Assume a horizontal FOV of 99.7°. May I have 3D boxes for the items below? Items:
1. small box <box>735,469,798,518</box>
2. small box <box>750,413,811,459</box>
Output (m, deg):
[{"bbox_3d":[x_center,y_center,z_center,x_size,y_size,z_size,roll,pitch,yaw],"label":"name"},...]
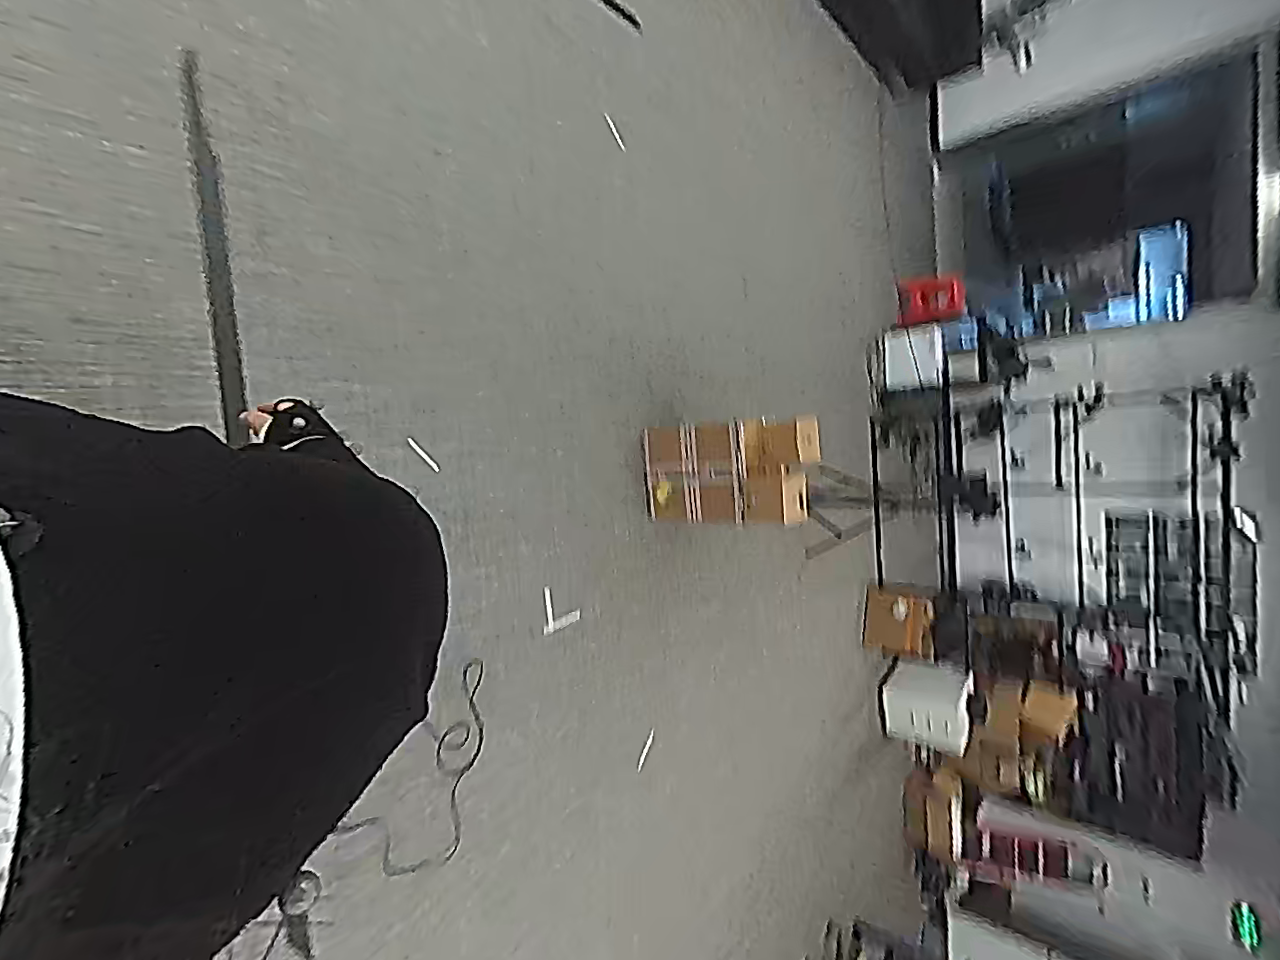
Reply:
[{"bbox_3d":[0.476,0.047,2.034,0.179,0.176,0.168,-9,97,-46],"label":"small box"},{"bbox_3d":[0.548,-0.172,2.114,0.179,0.176,0.168,-9,94,-46],"label":"small box"}]
